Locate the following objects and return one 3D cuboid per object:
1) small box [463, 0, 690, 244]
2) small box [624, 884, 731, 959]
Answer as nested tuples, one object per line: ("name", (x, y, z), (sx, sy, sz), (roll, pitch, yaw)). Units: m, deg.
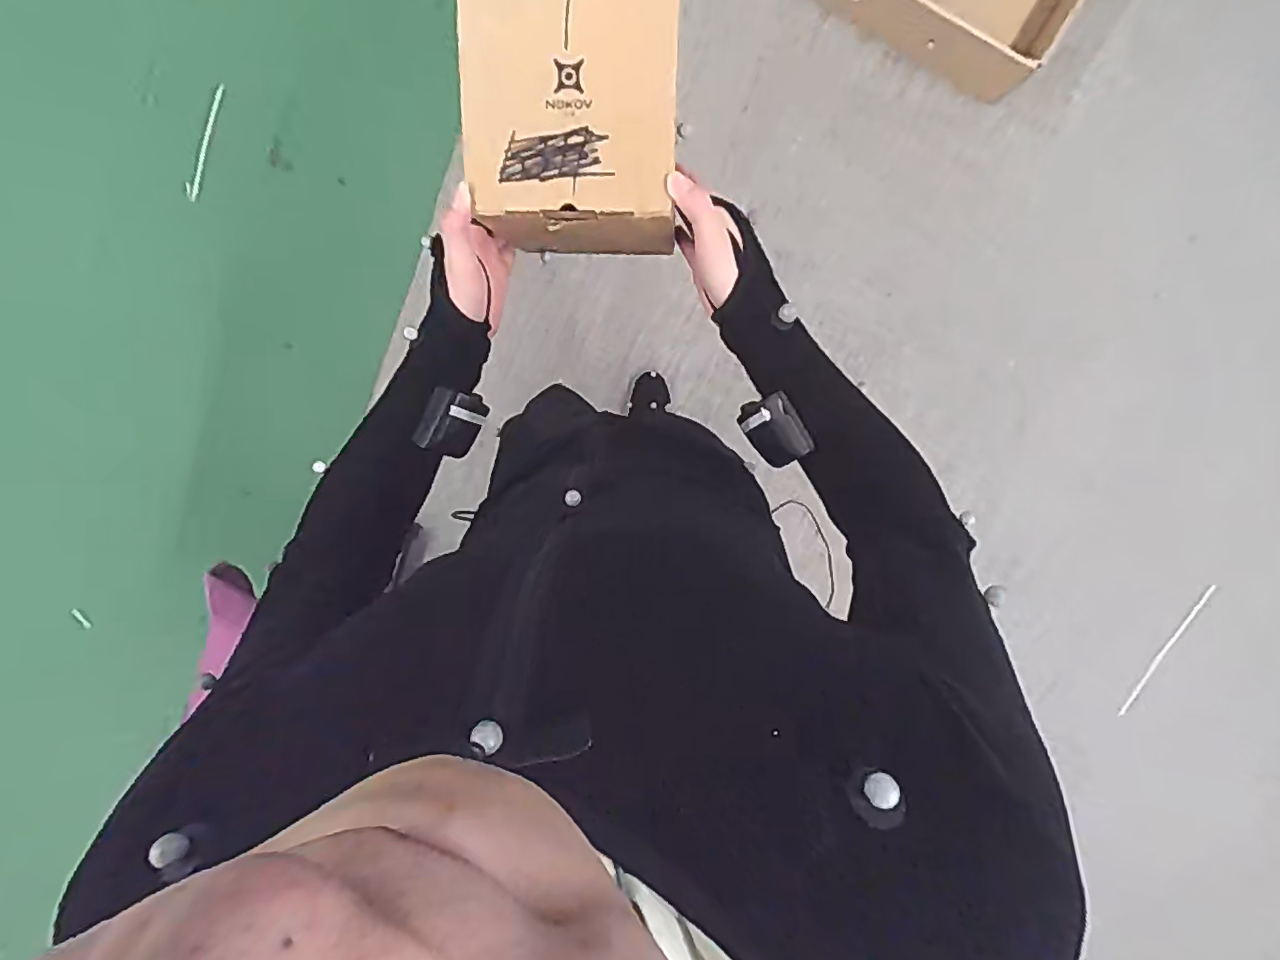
("small box", (-0.043, -0.316, 0.475), (0.168, 0.176, 0.179), (3, 102, 3))
("small box", (0.066, 0.898, 0.985), (0.168, 0.176, 0.179), (19, 102, 0))
